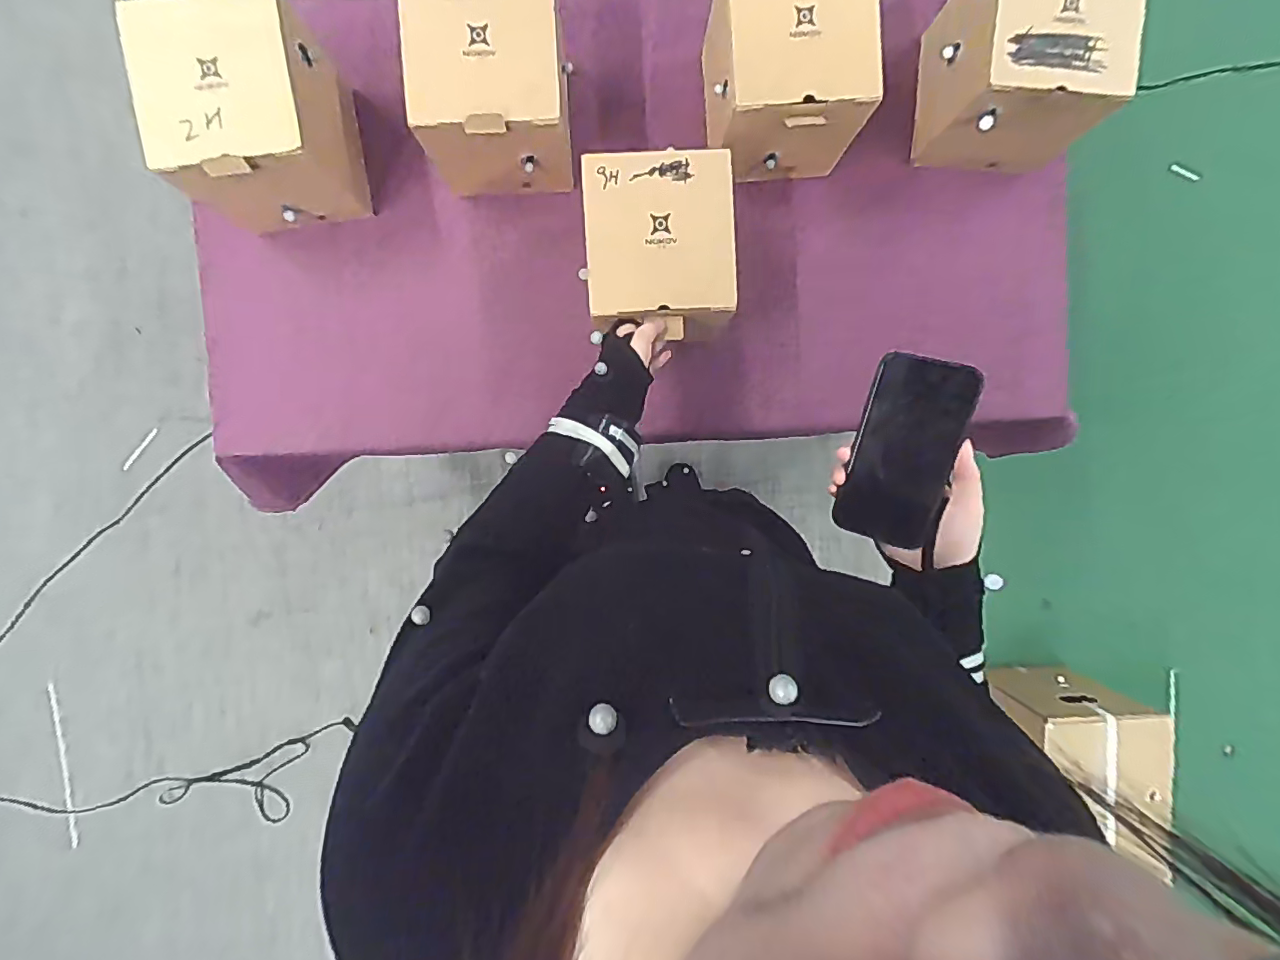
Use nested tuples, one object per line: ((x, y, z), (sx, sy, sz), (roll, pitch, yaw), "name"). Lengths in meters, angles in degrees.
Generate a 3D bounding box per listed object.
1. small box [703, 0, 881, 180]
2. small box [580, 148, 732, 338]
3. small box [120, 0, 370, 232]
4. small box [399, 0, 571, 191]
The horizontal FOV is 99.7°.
((0.174, -0.500, 0.663), (0.168, 0.176, 0.179), (-5, 94, -1), "small box")
((0.018, -0.277, 0.671), (0.168, 0.176, 0.179), (-3, 94, -2), "small box")
((-0.453, -0.426, 0.649), (0.168, 0.176, 0.179), (-8, 94, -1), "small box")
((-0.174, -0.472, 0.656), (0.168, 0.176, 0.179), (-3, 93, -3), "small box")
